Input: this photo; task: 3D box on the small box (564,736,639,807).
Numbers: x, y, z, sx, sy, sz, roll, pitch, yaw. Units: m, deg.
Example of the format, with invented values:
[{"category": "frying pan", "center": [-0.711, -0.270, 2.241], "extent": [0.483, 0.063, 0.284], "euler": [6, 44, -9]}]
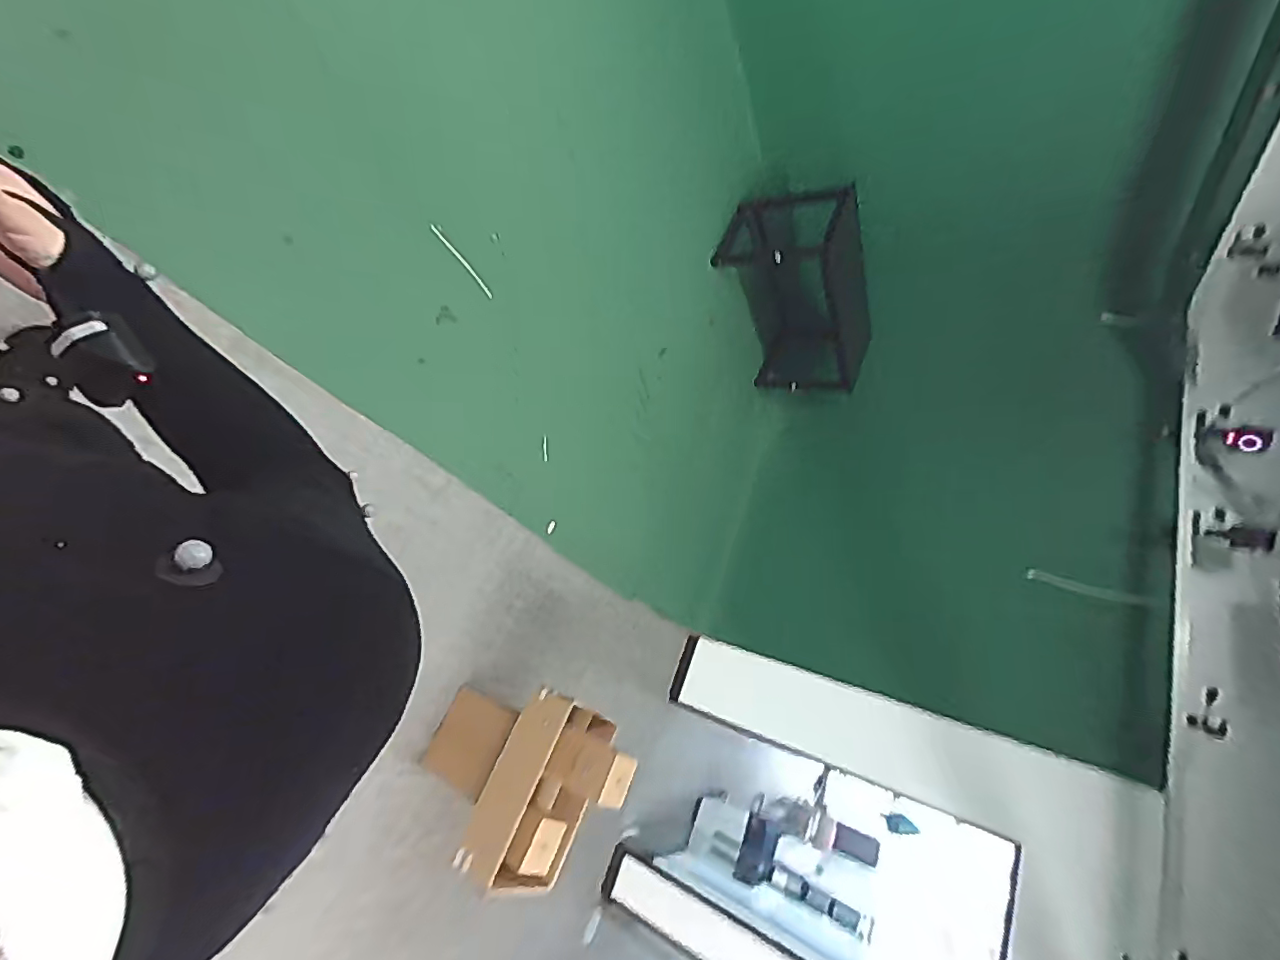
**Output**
[{"category": "small box", "center": [-0.138, 1.029, 1.913], "extent": [0.179, 0.176, 0.168], "euler": [51, 57, -48]}]
